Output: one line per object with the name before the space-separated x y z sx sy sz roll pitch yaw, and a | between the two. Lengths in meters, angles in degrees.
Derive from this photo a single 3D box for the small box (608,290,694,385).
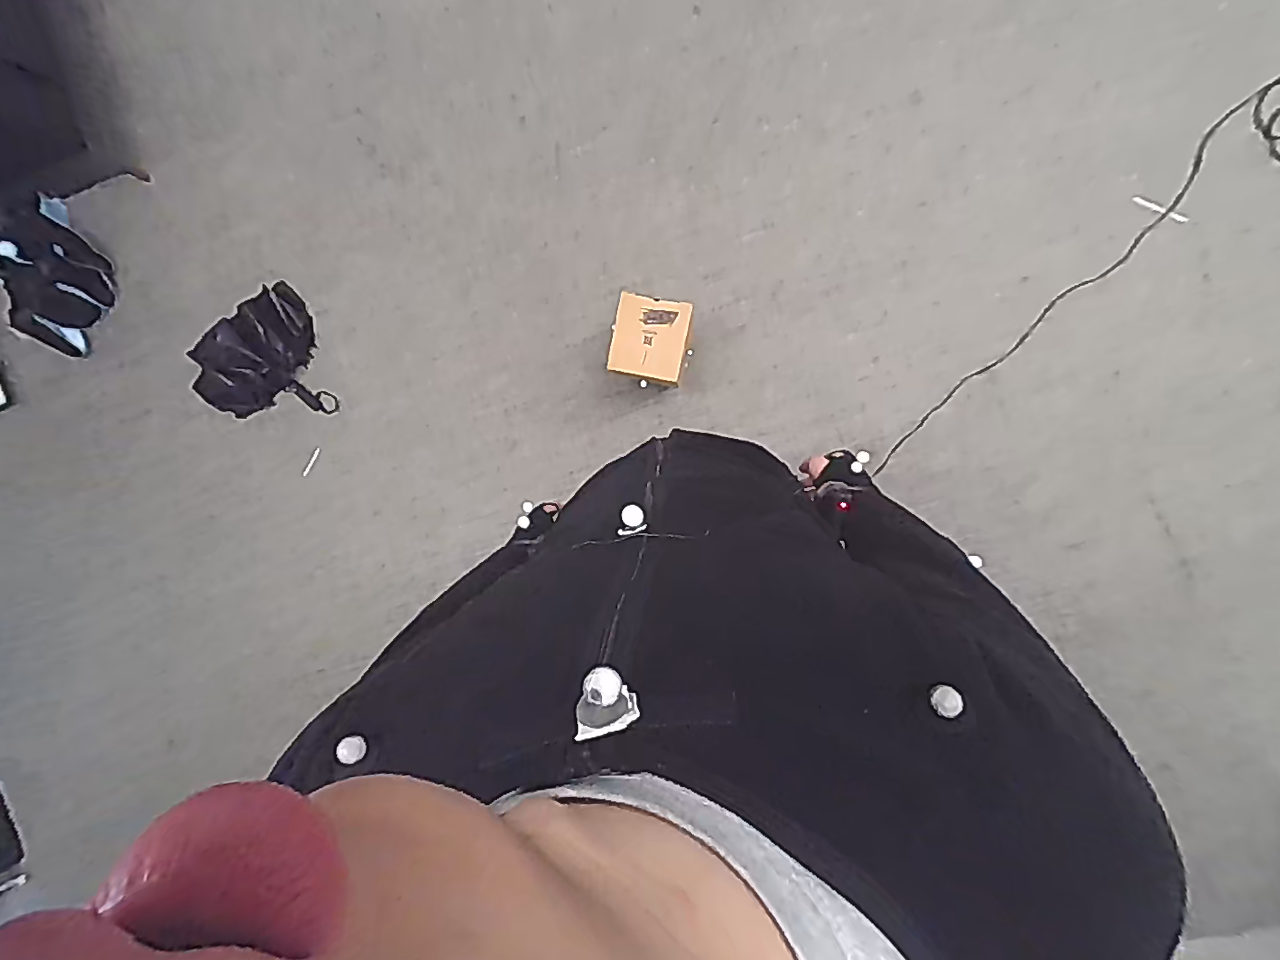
small box | 0.032 -0.332 1.289 0.168 0.176 0.179 12 97 6
